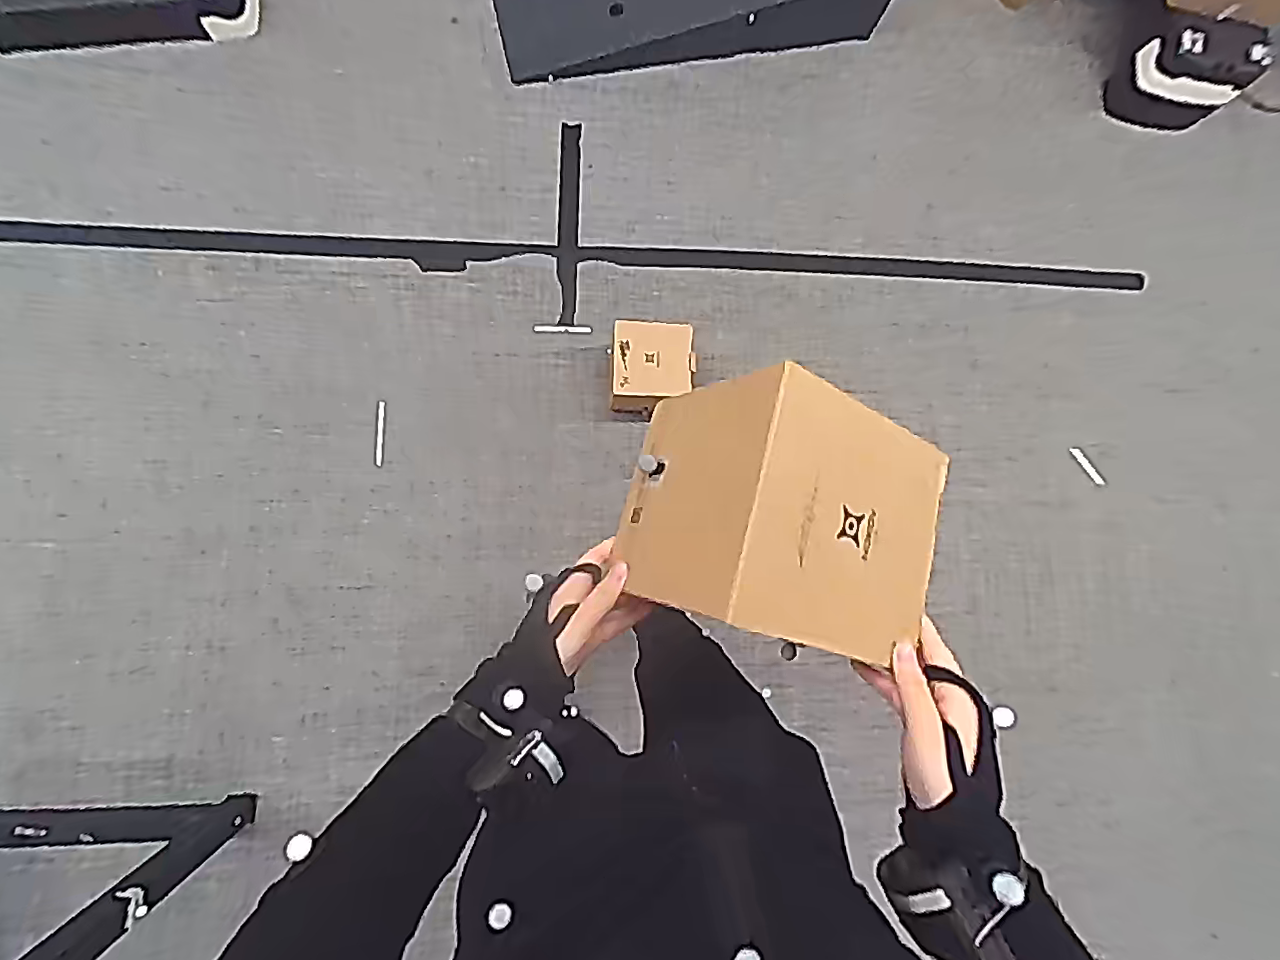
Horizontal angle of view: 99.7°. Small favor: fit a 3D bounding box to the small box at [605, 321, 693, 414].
[{"bbox_3d":[0.016,-0.250,1.243,0.179,0.176,0.168,3,85,-7],"label":"small box"}]
